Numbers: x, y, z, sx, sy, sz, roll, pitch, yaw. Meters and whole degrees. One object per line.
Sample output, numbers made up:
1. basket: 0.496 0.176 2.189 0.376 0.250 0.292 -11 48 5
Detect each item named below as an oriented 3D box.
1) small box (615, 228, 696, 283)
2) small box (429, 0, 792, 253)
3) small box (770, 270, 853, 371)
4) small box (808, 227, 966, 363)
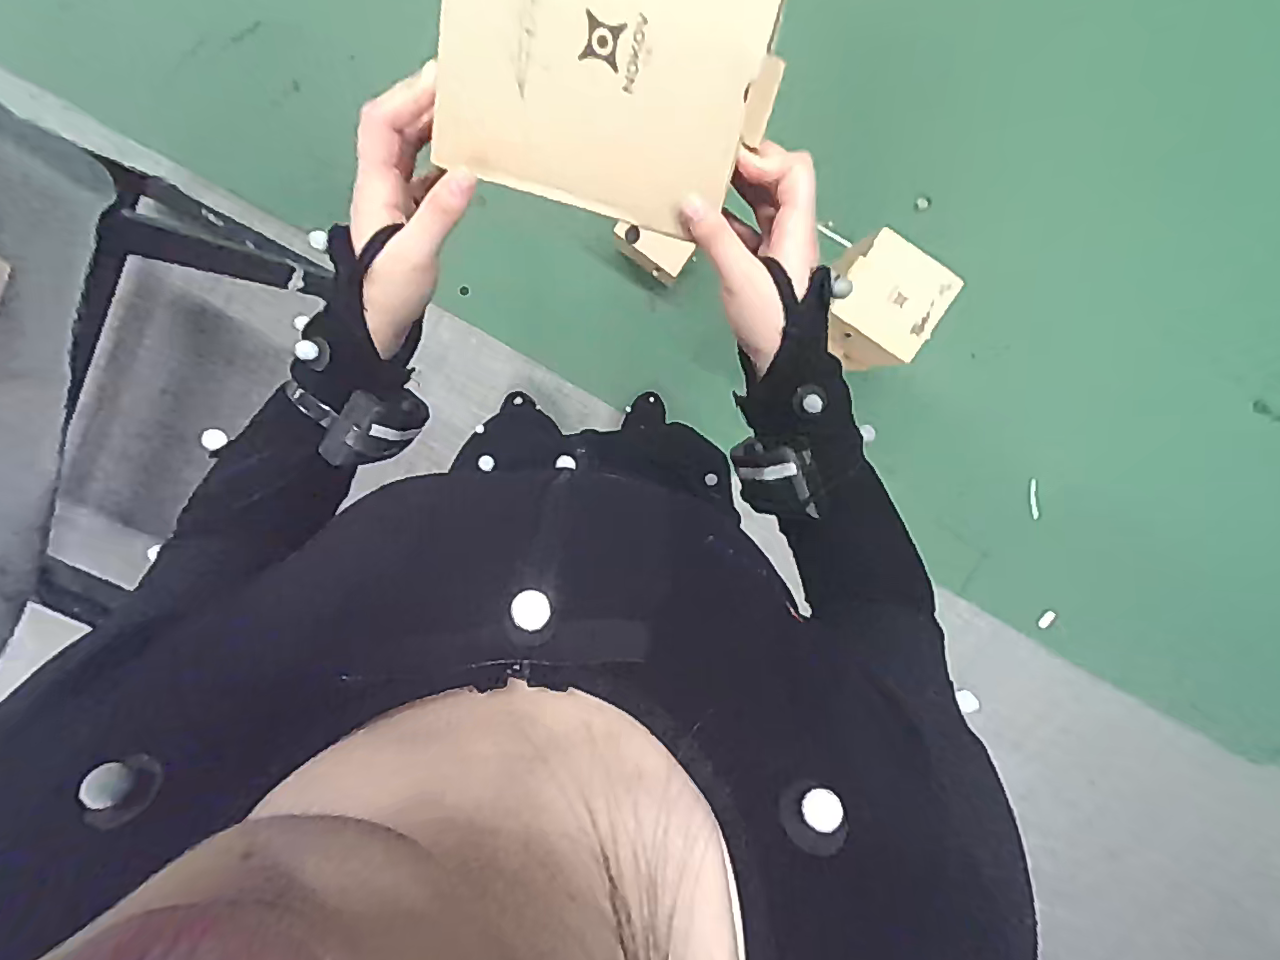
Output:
1. small box: 0.058 -0.589 1.281 0.179 0.176 0.168 35 99 -7
2. small box: -0.022 -0.263 0.354 0.179 0.176 0.168 11 116 -10
3. small box: 0.448 -0.386 1.328 0.179 0.176 0.168 33 100 -7
4. small box: 0.443 -0.328 1.005 0.179 0.176 0.168 32 99 -6
